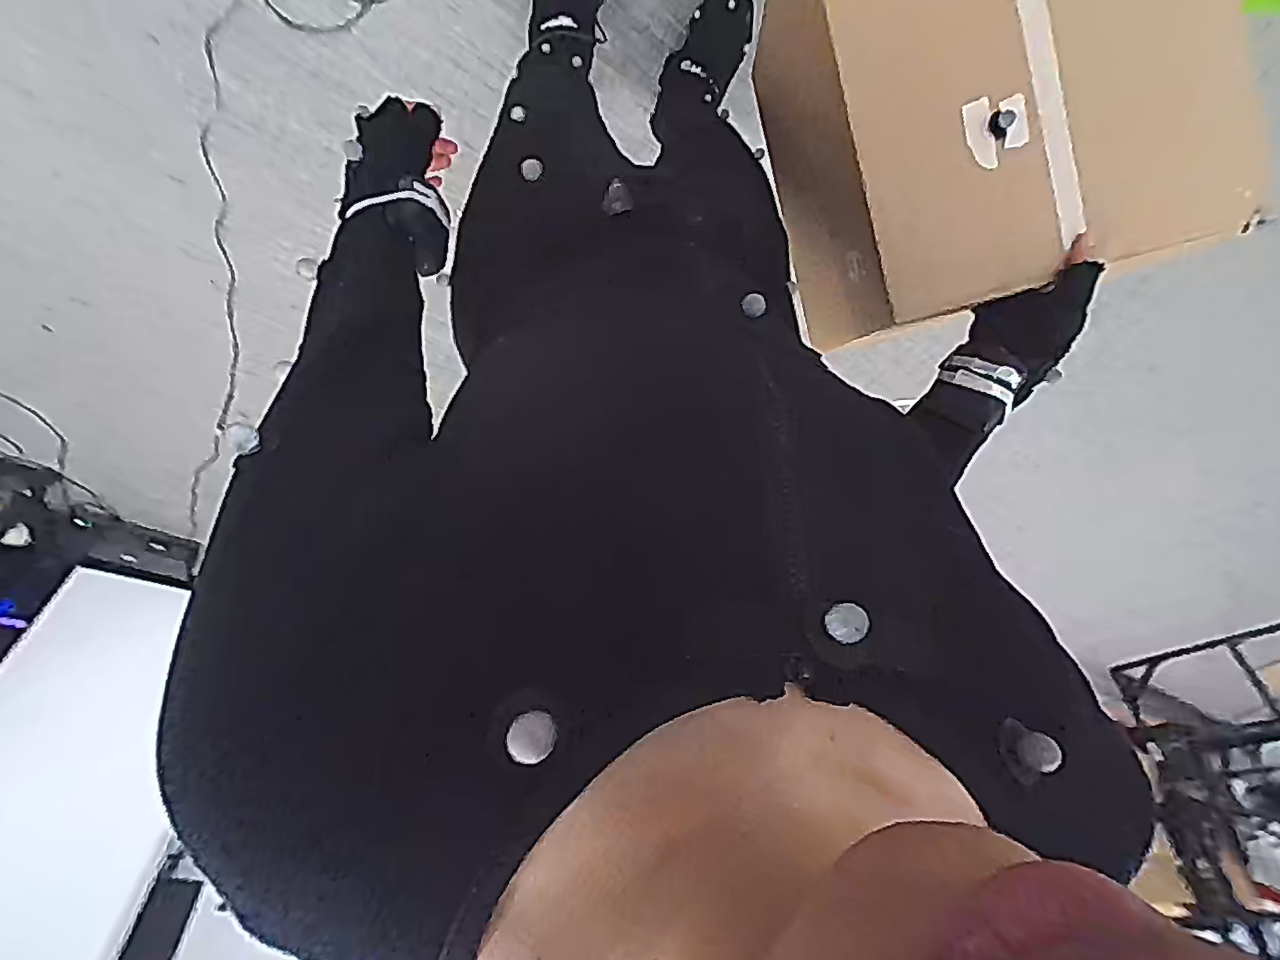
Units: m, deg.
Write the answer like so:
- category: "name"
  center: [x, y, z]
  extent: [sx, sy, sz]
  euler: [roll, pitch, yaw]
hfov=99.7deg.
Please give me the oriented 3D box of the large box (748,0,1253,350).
- category: "large box"
  center: [0.338, -0.395, 0.607]
  extent: [0.320, 0.320, 0.408]
  euler: [-15, 97, 7]
